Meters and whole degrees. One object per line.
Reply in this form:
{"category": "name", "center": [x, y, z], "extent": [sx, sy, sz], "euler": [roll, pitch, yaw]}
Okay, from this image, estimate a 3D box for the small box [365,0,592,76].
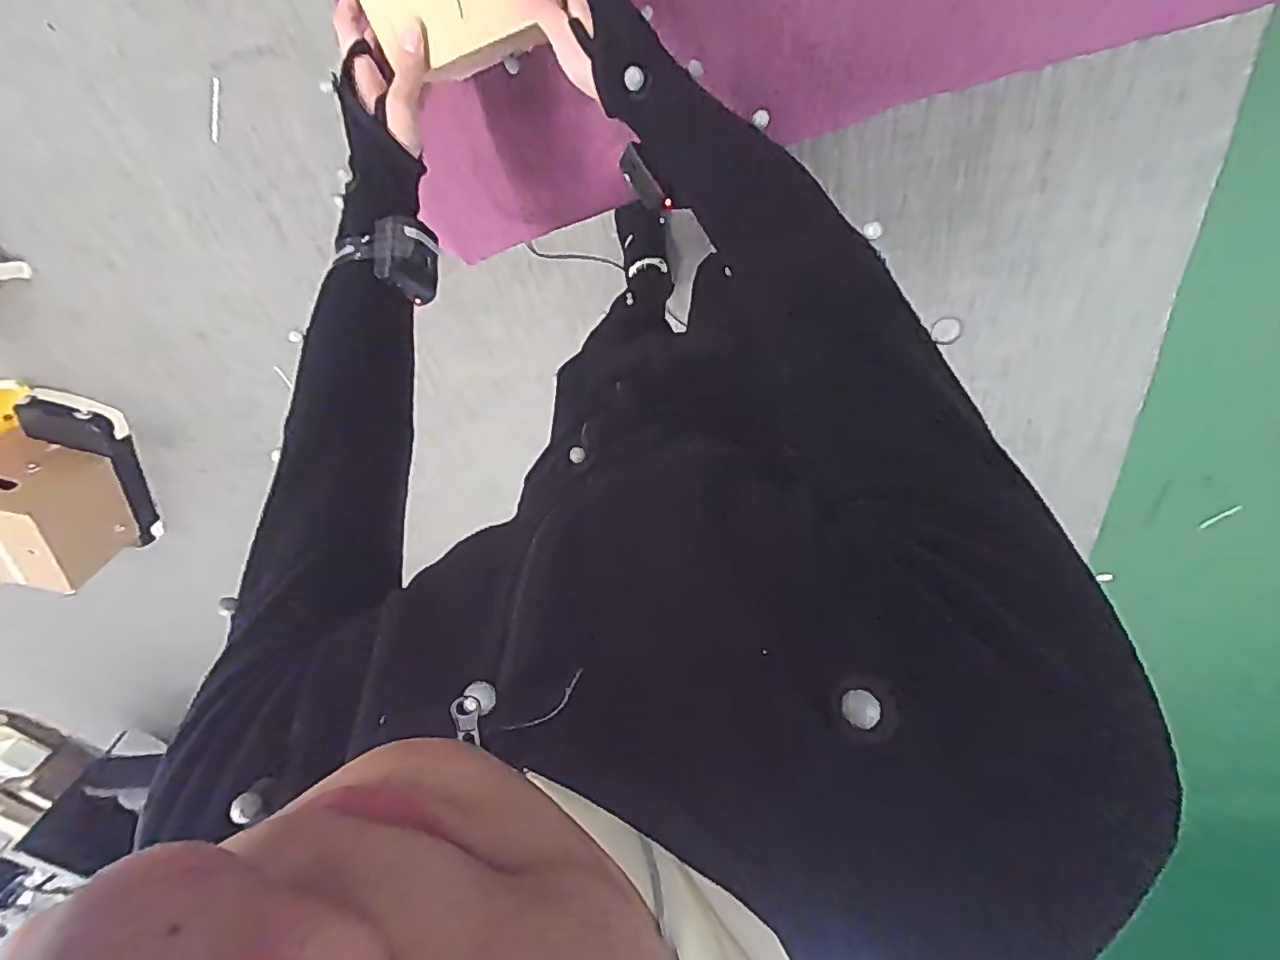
{"category": "small box", "center": [-0.153, -0.486, 0.475], "extent": [0.168, 0.176, 0.179], "euler": [-11, 127, 14]}
